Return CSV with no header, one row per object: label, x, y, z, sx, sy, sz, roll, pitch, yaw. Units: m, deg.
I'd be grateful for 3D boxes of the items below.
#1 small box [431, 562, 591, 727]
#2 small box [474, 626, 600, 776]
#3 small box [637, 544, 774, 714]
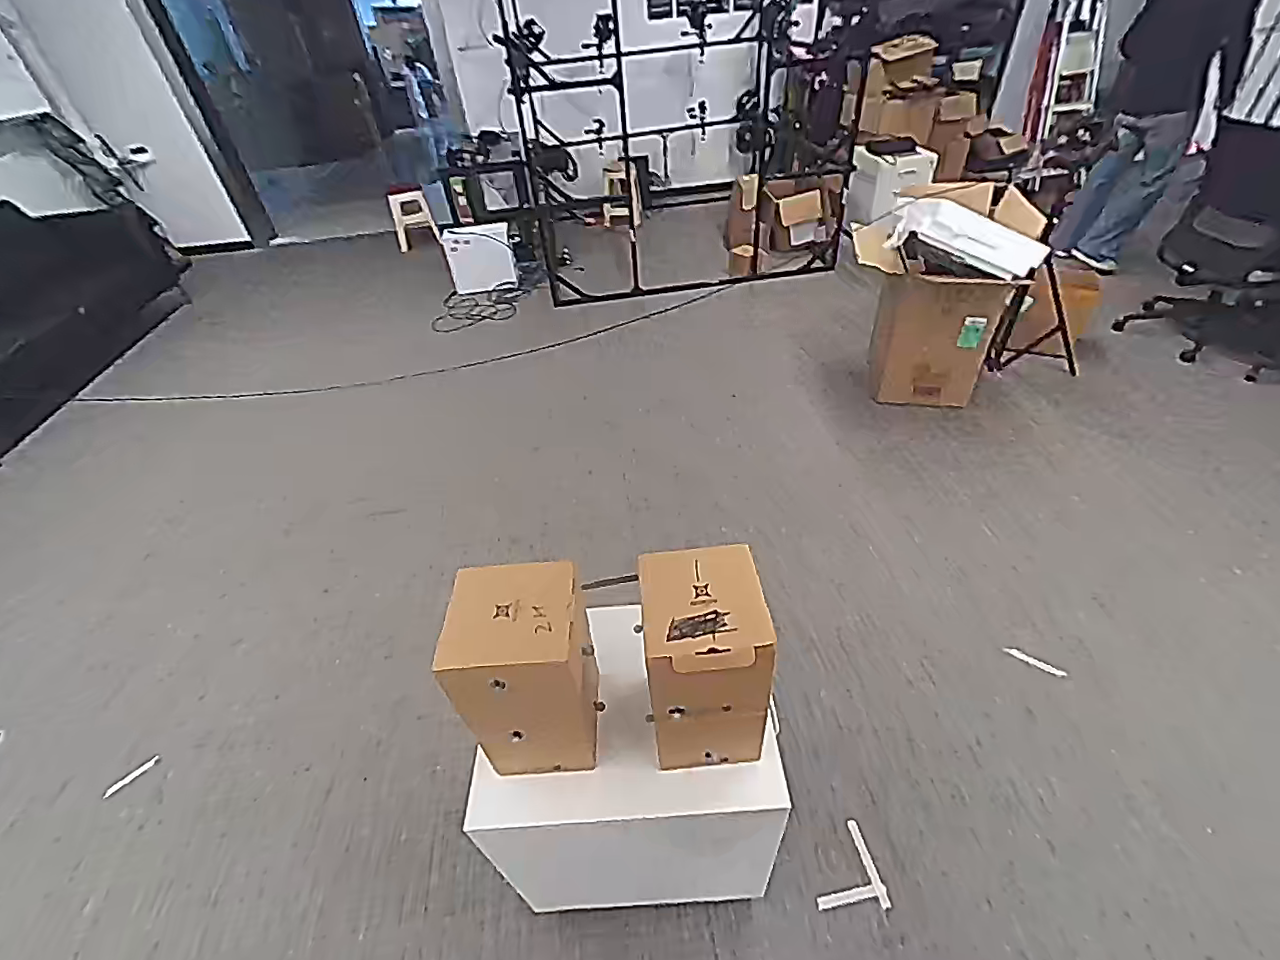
small box,-0.172,0.240,0.783,0.179,0.176,0.168,-4,42,1
small box,-0.159,0.361,0.895,0.168,0.176,0.179,-5,40,2
small box,0.089,0.219,0.779,0.168,0.176,0.179,-6,41,0
